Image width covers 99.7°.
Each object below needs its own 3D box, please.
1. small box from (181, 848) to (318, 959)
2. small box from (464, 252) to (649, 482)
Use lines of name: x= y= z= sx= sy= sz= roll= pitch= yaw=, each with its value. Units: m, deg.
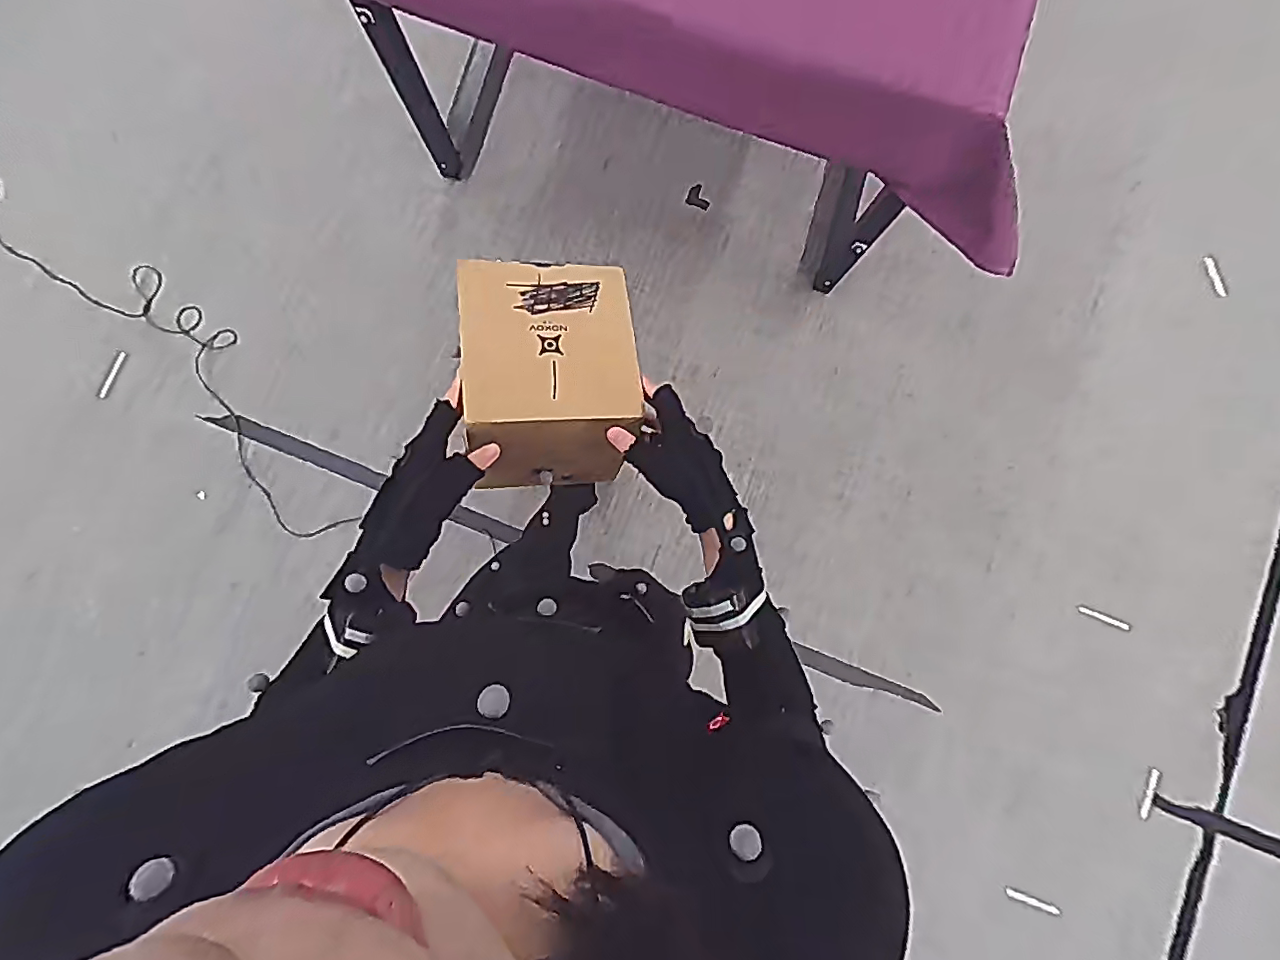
small box: x=-0.924 y=1.026 z=1.295 sx=0.179 sy=0.176 sz=0.168 roll=19 pitch=85 yaw=-2
small box: x=-0.099 y=-0.111 z=0.579 sx=0.168 sy=0.176 sz=0.179 roll=-3 pitch=69 yaw=-14
